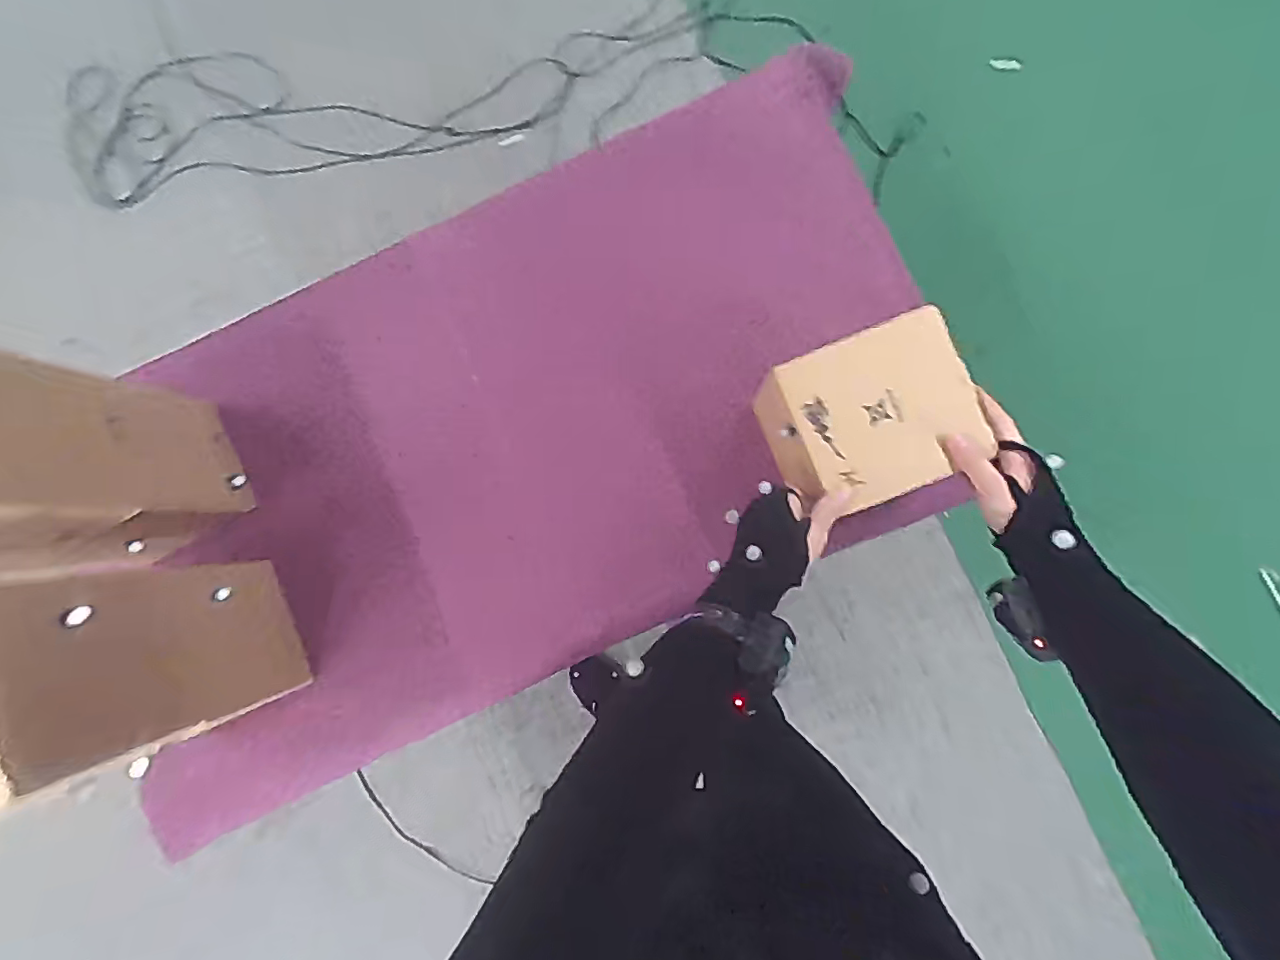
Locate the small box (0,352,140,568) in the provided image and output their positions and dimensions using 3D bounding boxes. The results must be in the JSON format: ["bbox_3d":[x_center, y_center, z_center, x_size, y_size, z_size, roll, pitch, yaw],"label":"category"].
[{"bbox_3d":[-0.639,-0.018,0.510,0.168,0.176,0.179,-27,84,1],"label":"small box"}]

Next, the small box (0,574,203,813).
[{"bbox_3d":[-0.558,0.194,0.487,0.168,0.176,0.179,-26,84,1],"label":"small box"}]

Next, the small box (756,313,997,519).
[{"bbox_3d":[0.251,-0.061,0.621,0.179,0.176,0.168,-21,84,2],"label":"small box"}]
